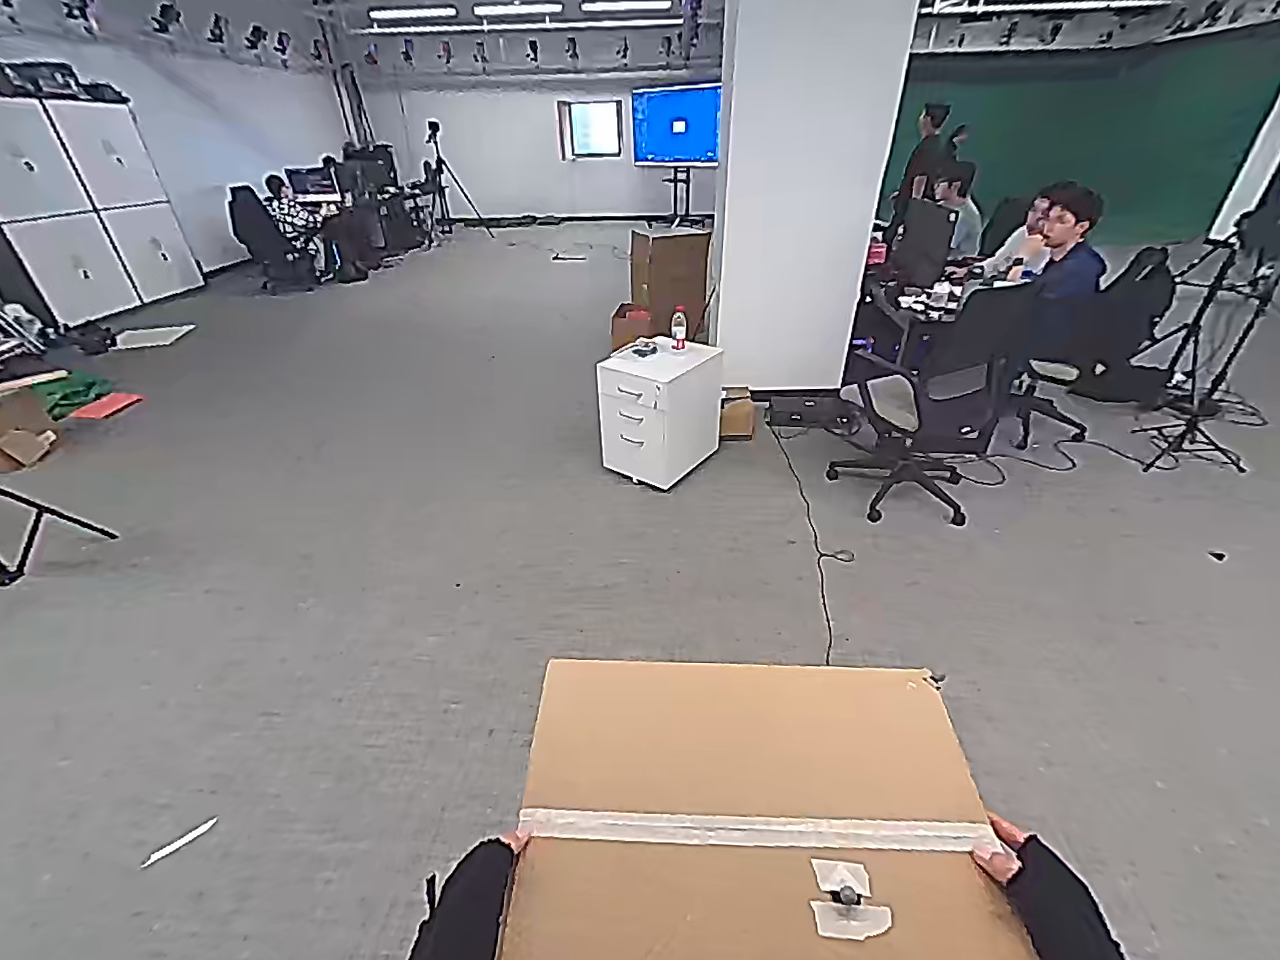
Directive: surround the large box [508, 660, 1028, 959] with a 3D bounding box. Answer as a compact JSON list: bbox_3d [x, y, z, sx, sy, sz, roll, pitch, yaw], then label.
[{"bbox_3d":[0.100,0.414,0.578,0.408,0.320,0.320,1,42,2],"label":"large box"}]
